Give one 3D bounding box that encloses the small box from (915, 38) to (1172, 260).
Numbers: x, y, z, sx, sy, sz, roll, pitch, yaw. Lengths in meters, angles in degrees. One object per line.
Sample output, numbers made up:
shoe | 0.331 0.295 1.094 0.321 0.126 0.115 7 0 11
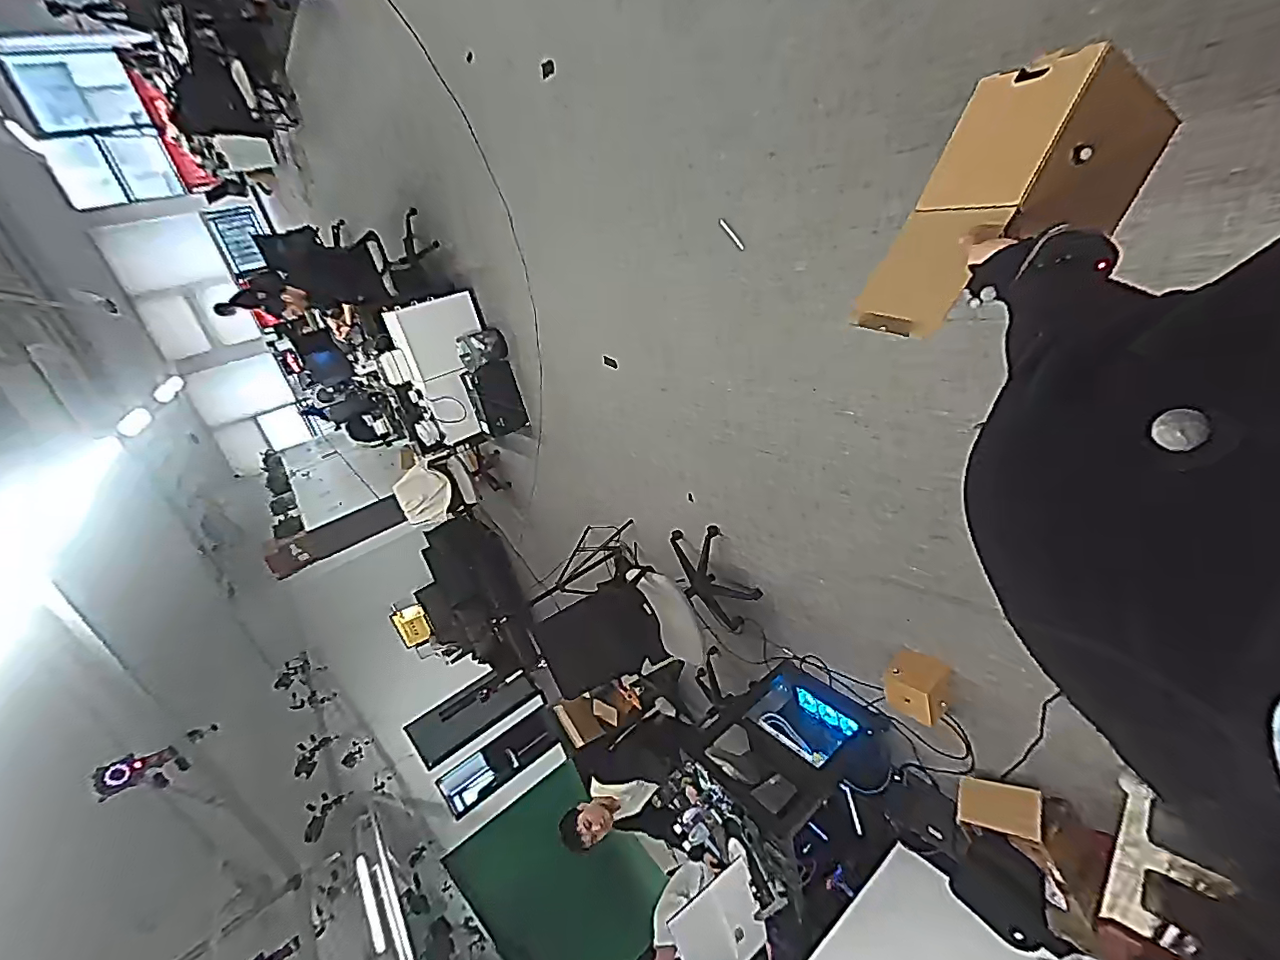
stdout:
small box | 0.504 -0.396 0.685 0.179 0.176 0.168 -67 25 16
